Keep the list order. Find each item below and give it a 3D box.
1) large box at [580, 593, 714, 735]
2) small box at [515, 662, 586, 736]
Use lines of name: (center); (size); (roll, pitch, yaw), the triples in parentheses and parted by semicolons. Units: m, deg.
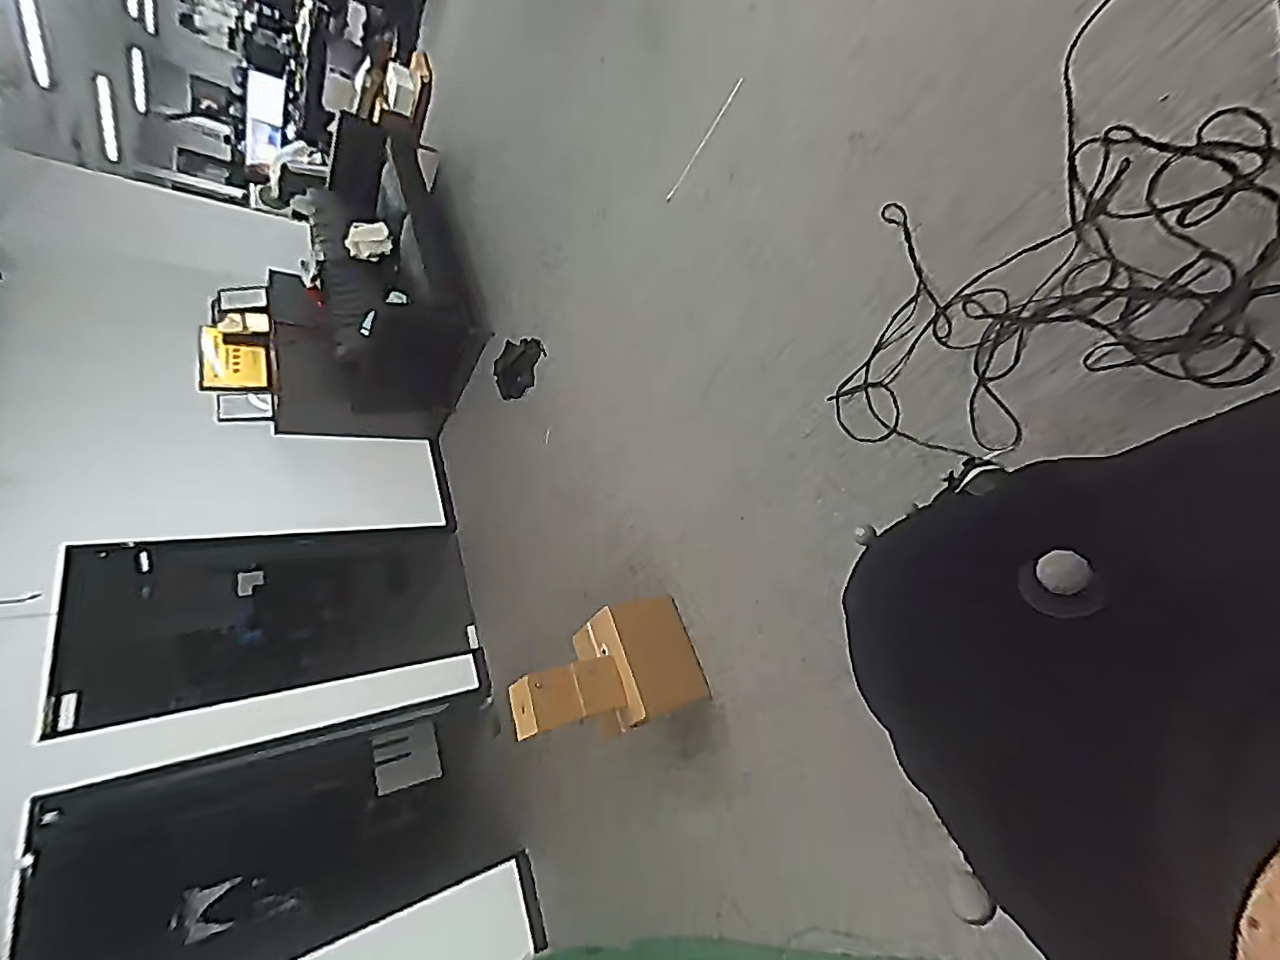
large box: (0.018, 0.691, 2.065); (0.320, 0.320, 0.408); (-48, 52, 40)
small box: (-0.298, 0.729, 1.808); (0.168, 0.176, 0.179); (-45, 55, 43)
